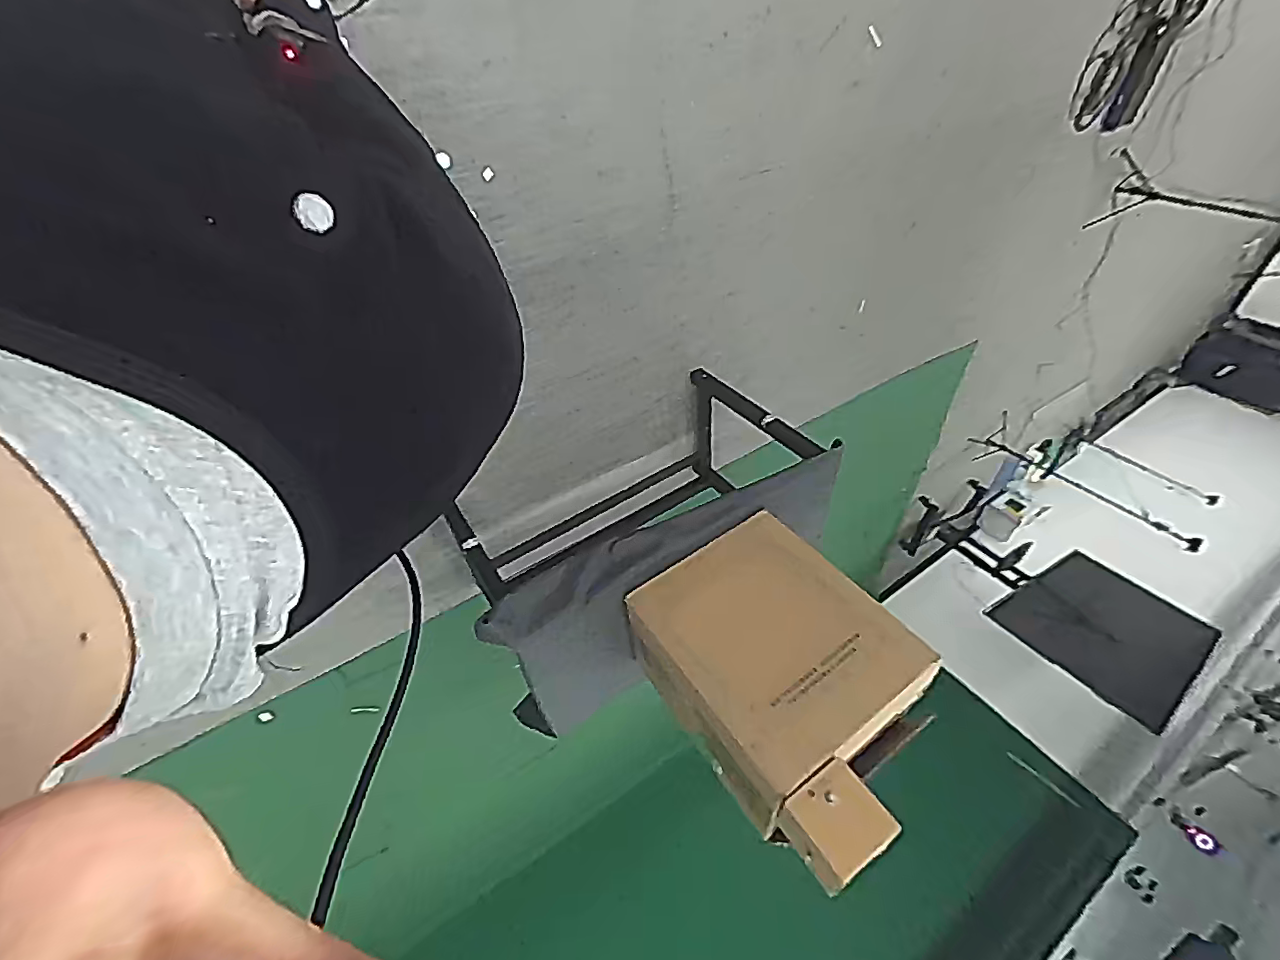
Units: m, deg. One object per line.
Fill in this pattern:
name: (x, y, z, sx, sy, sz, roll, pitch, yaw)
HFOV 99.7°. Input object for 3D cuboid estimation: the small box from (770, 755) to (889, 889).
small box: (0.403, 0.742, 1.183, 0.168, 0.176, 0.179, -28, 137, -20)
